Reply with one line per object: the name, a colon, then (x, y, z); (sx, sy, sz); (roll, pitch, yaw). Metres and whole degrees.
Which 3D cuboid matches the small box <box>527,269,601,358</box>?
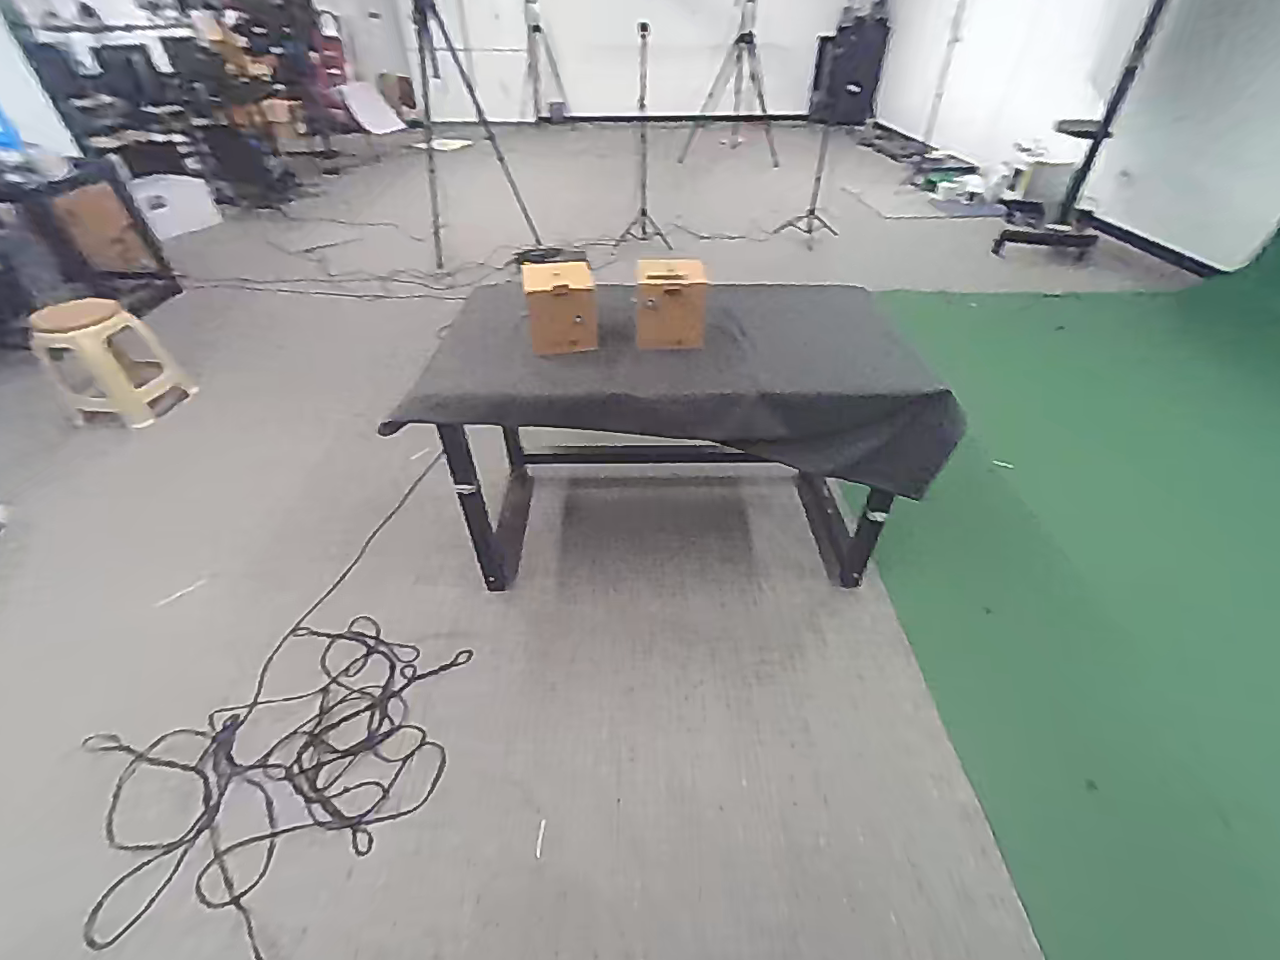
small box: (-0.193, -0.418, 1.371); (0.168, 0.176, 0.179); (-7, 39, -10)
